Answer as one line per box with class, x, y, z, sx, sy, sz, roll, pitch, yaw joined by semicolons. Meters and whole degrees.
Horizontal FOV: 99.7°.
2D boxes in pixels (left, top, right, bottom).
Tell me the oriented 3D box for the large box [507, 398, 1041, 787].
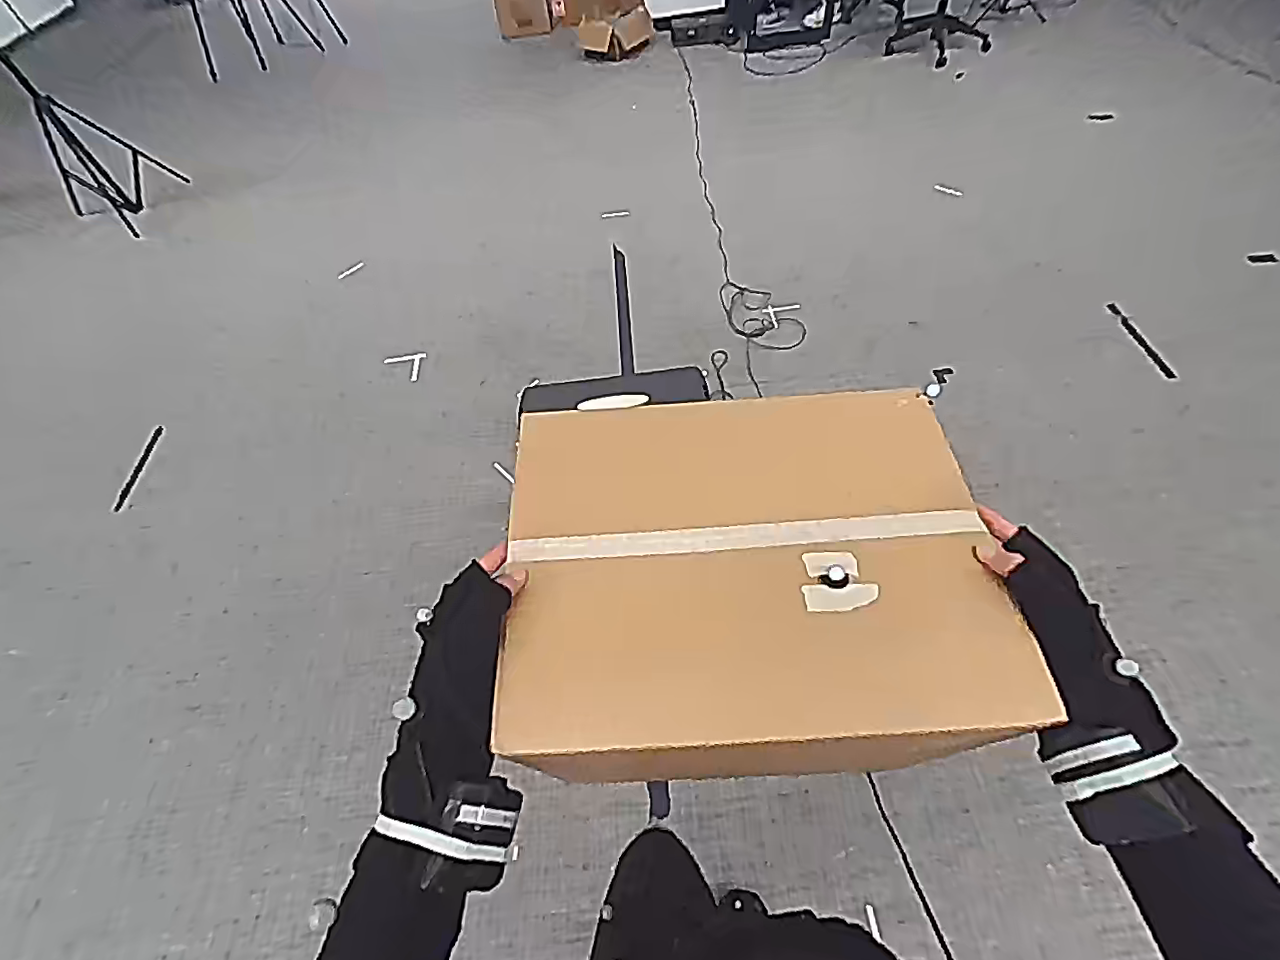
large box;0.096;0.139;0.601;0.408;0.320;0.320;-4;57;1
